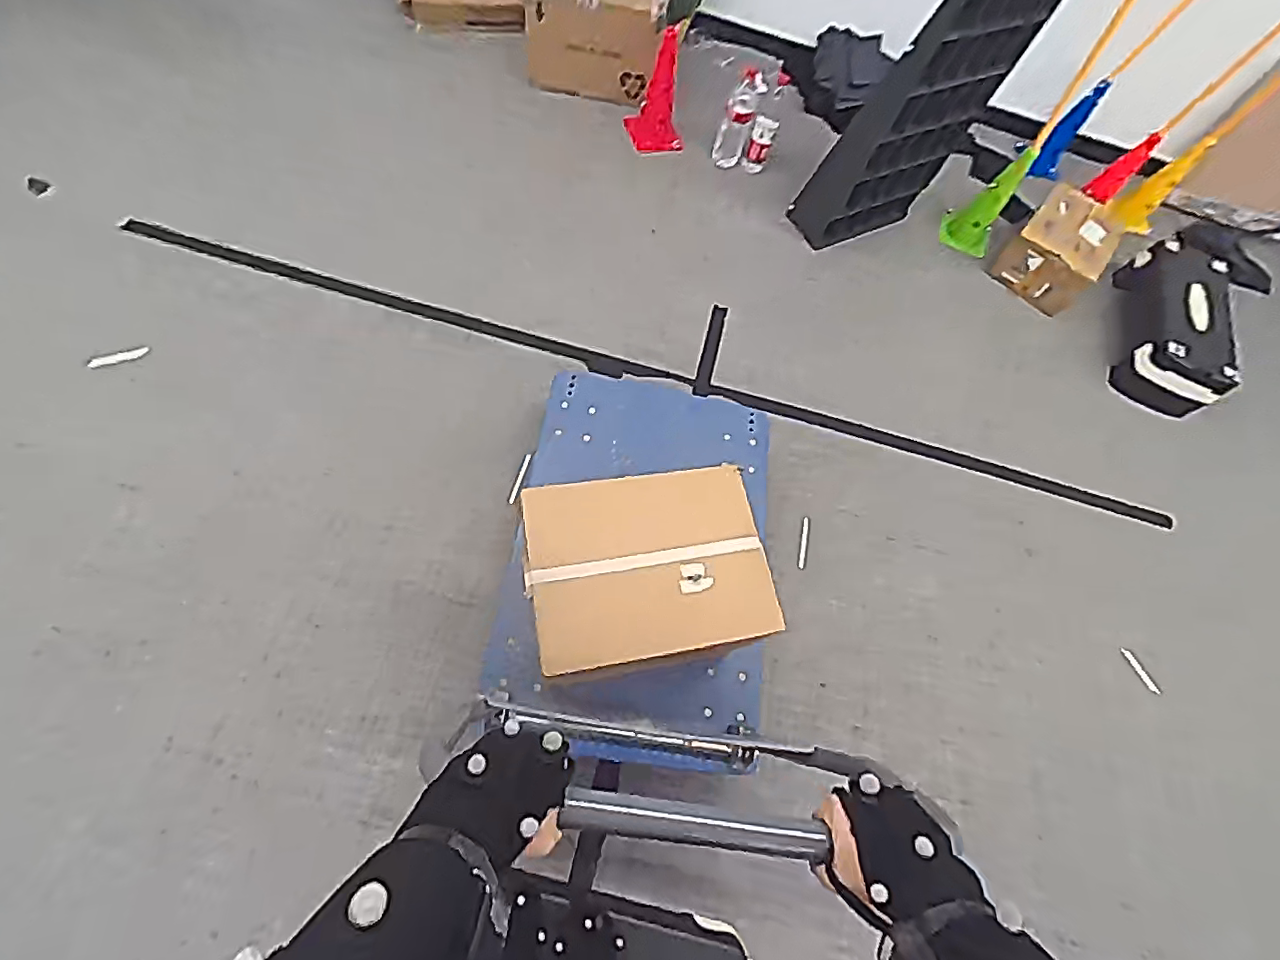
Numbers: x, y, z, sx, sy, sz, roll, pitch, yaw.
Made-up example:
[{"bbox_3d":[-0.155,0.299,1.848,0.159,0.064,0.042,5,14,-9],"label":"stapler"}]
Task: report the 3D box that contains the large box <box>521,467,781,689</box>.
[{"bbox_3d":[-0.008,0.198,1.052,0.408,0.320,0.320,-7,68,-14],"label":"large box"}]
